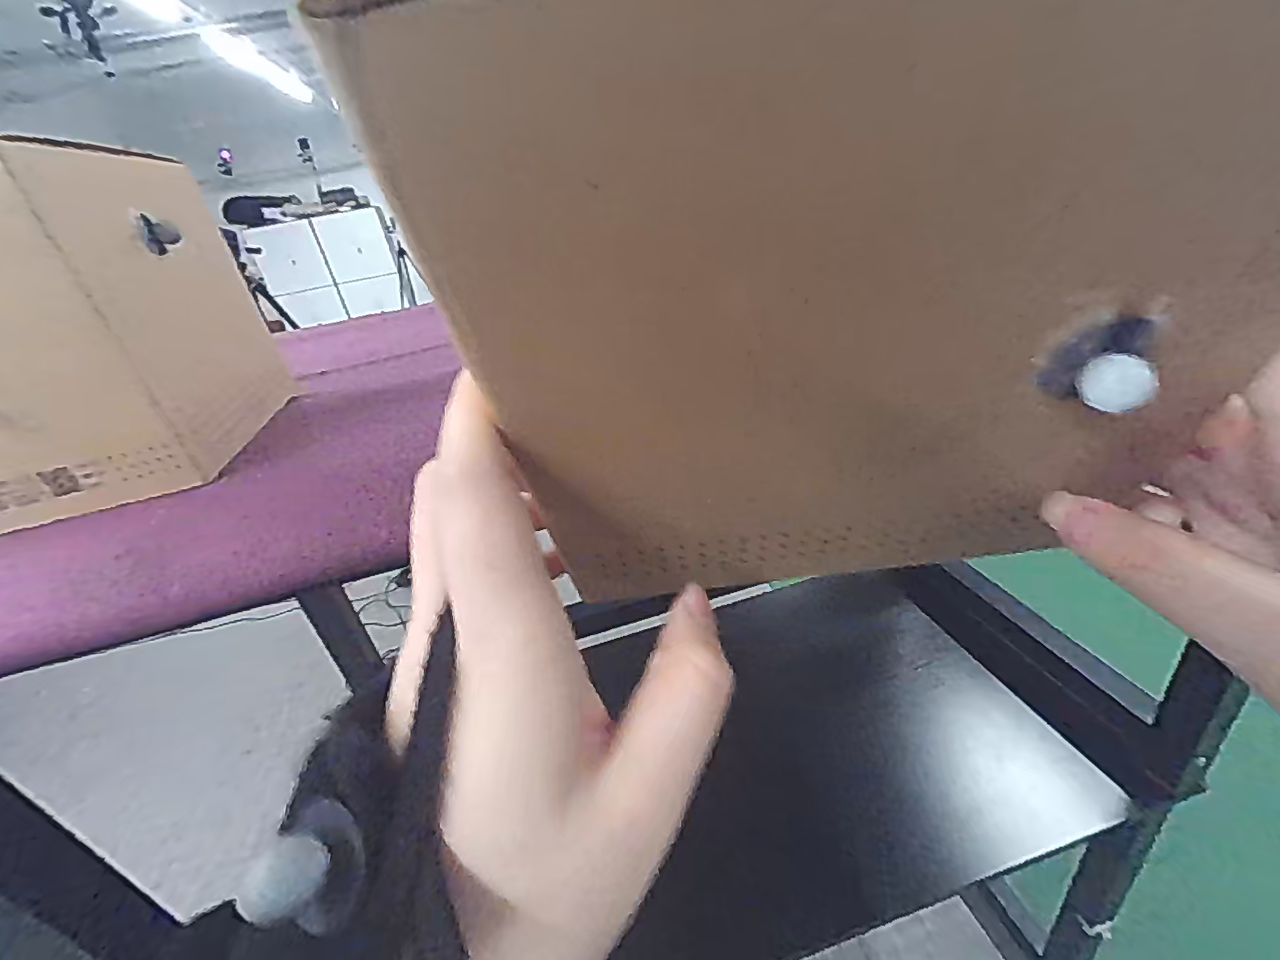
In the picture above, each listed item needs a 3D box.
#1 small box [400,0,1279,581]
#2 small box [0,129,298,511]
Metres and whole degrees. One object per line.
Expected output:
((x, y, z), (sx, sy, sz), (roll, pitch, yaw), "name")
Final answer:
((0.057, -0.082, 0.184), (0.179, 0.176, 0.168), (-8, 50, 4), "small box")
((-0.343, -0.091, 0.325), (0.168, 0.176, 0.179), (-14, 29, -10), "small box")
